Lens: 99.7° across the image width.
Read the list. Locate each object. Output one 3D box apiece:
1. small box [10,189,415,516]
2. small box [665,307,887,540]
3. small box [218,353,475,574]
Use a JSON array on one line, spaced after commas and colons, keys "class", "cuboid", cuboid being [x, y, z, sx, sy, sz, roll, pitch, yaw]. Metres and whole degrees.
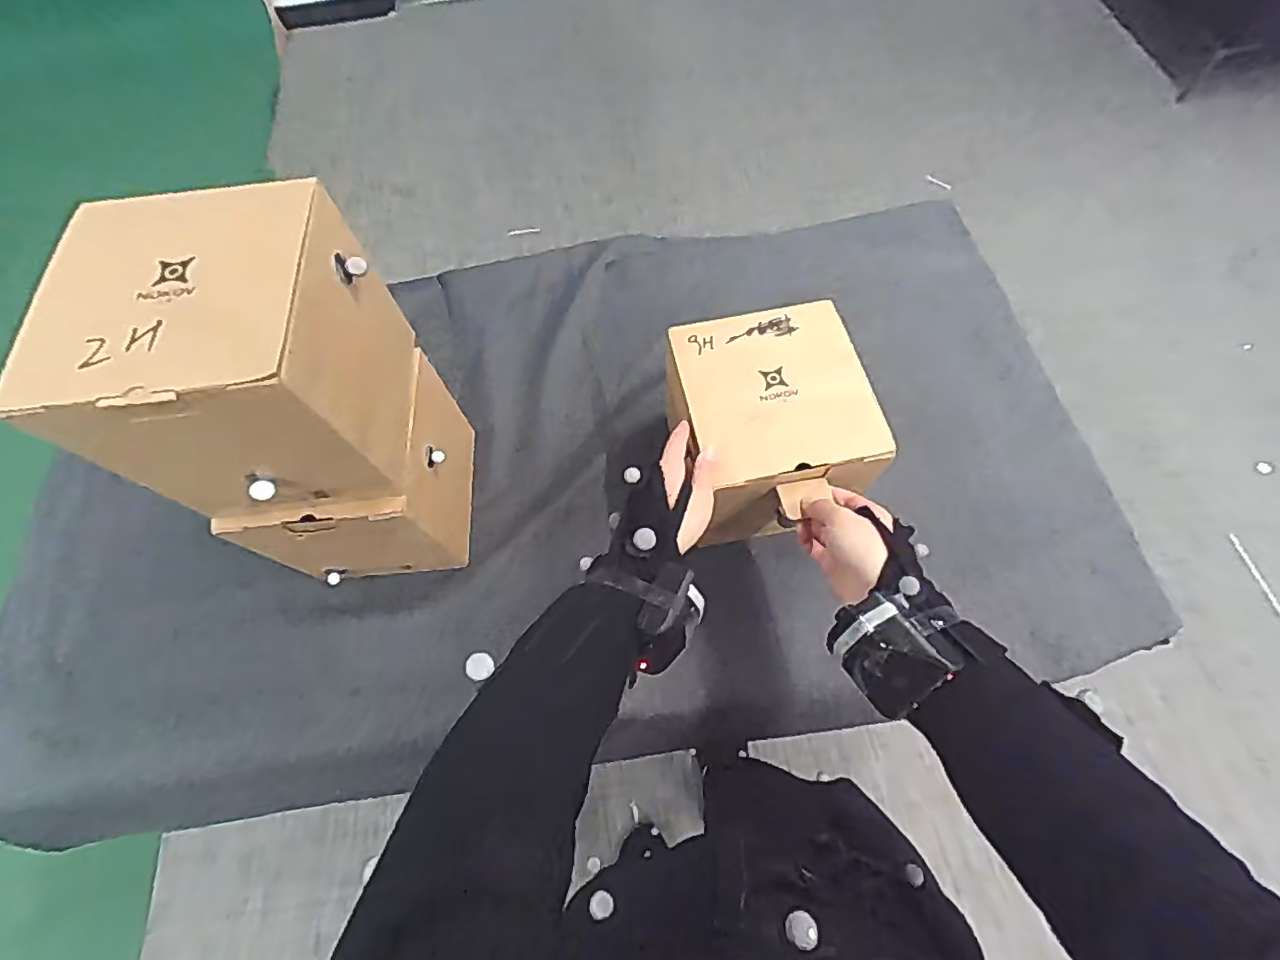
[{"class": "small box", "cuboid": [-0.292, -0.089, 0.423, 0.168, 0.176, 0.179, -7, 65, 0]}, {"class": "small box", "cuboid": [0.123, -0.046, 0.567, 0.168, 0.176, 0.179, -10, 66, -2]}, {"class": "small box", "cuboid": [-0.281, -0.006, 0.566, 0.168, 0.176, 0.179, -5, 64, 0]}]
